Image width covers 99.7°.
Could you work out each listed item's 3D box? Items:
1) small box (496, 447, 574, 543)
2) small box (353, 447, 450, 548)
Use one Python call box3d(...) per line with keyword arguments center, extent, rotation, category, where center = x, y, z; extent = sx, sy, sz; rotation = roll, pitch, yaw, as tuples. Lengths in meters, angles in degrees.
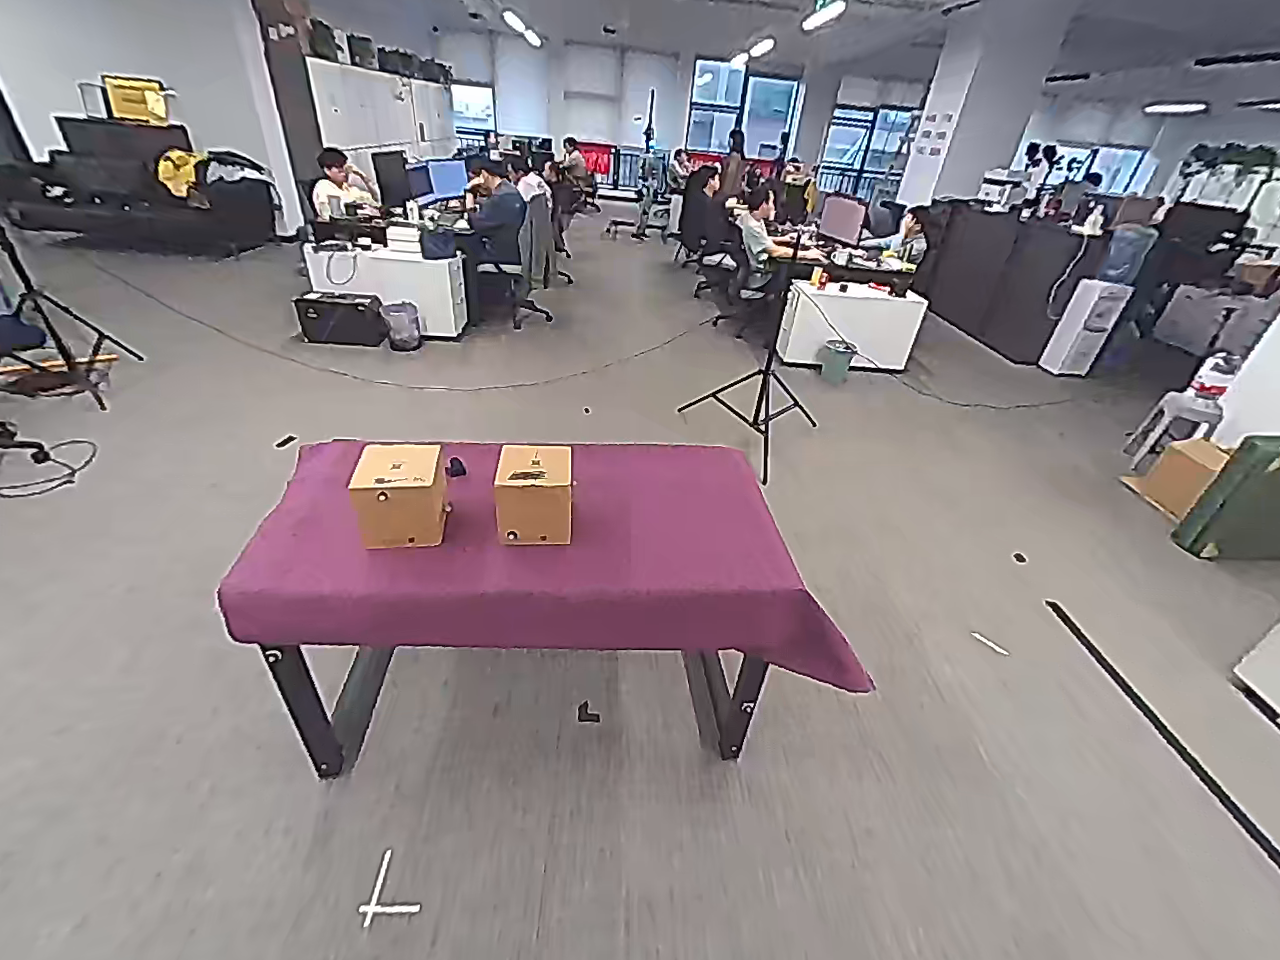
box3d(center=(-0.242, 0.036, 1.283), extent=(0.168, 0.176, 0.179), rotation=(1, 32, -7), category="small box")
box3d(center=(-0.533, 0.037, 1.236), extent=(0.168, 0.176, 0.179), rotation=(-2, 33, -12), category="small box")
